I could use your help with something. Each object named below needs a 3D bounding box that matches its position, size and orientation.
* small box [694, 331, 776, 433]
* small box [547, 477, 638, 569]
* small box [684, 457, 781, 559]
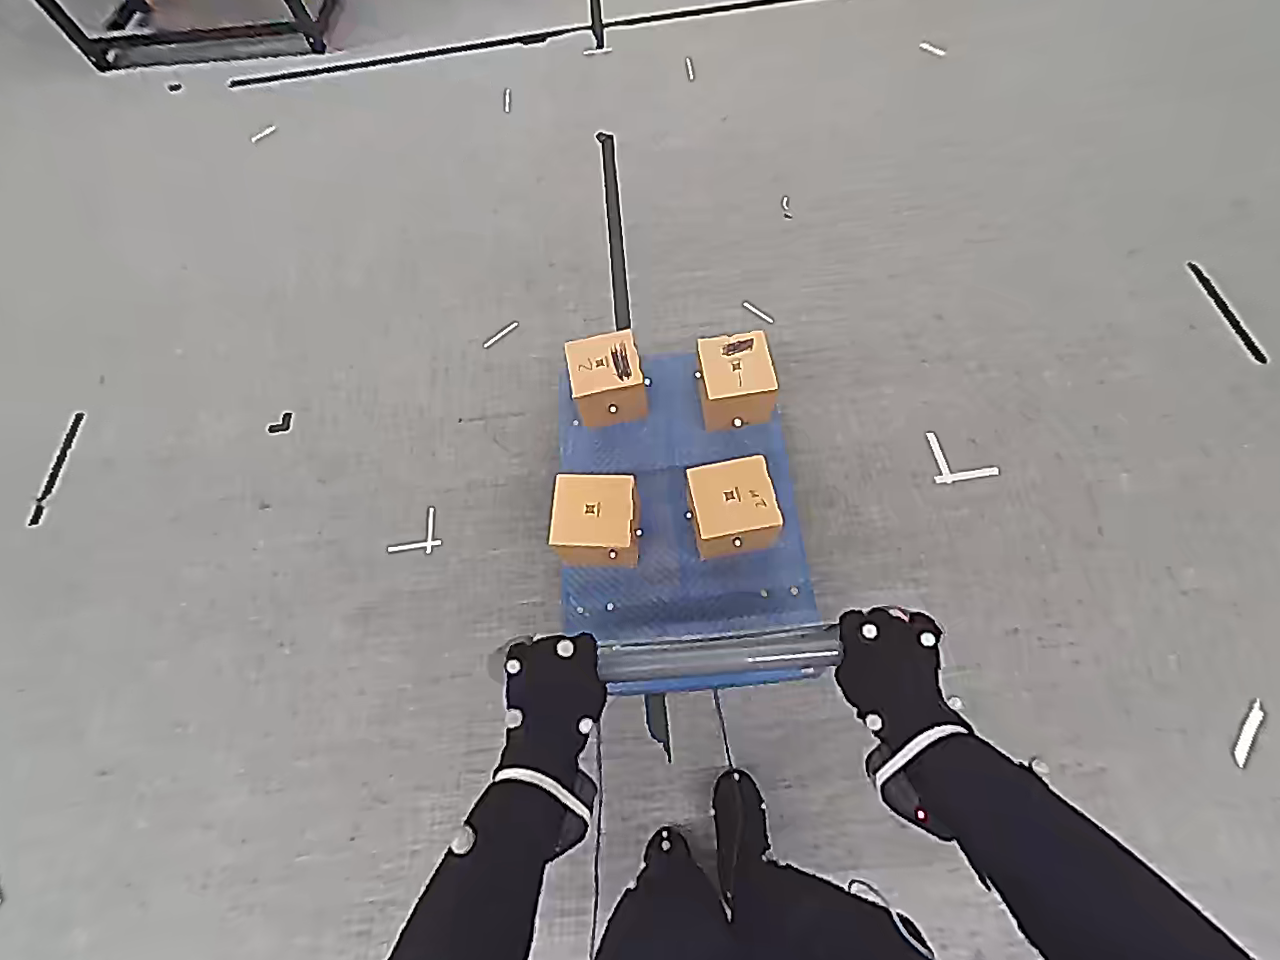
[{"bbox_3d":[0.229,-0.241,1.352,0.168,0.176,0.179,-9,67,2],"label":"small box"},{"bbox_3d":[-0.100,0.102,1.232,0.179,0.176,0.168,0,65,4],"label":"small box"},{"bbox_3d":[0.202,0.070,1.218,0.179,0.176,0.168,-11,66,0],"label":"small box"}]
